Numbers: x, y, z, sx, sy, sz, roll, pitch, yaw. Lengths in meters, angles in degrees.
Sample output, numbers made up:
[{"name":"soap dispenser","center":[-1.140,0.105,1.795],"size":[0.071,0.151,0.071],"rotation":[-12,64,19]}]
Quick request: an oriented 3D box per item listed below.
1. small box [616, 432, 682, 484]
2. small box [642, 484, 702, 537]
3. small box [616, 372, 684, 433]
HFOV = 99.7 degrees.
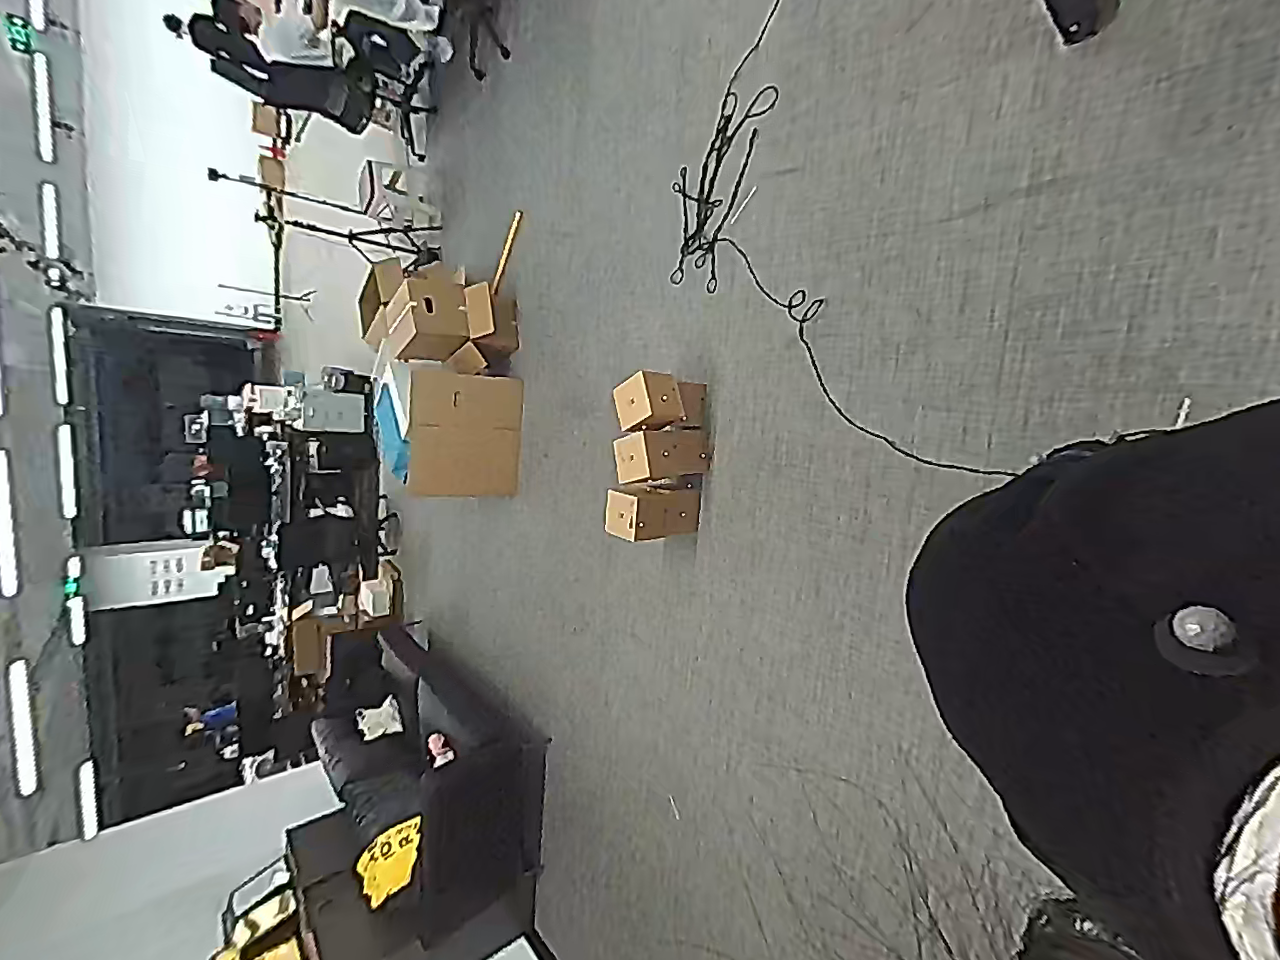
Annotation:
[{"name":"small box","center":[0.039,-0.081,1.970],"size":[0.179,0.176,0.168],"rotation":[-14,82,50]},{"name":"small box","center":[0.127,0.113,2.129],"size":[0.168,0.176,0.179],"rotation":[12,102,49]},{"name":"small box","center":[0.042,-0.278,1.953],"size":[0.179,0.176,0.168],"rotation":[-26,73,48]}]
